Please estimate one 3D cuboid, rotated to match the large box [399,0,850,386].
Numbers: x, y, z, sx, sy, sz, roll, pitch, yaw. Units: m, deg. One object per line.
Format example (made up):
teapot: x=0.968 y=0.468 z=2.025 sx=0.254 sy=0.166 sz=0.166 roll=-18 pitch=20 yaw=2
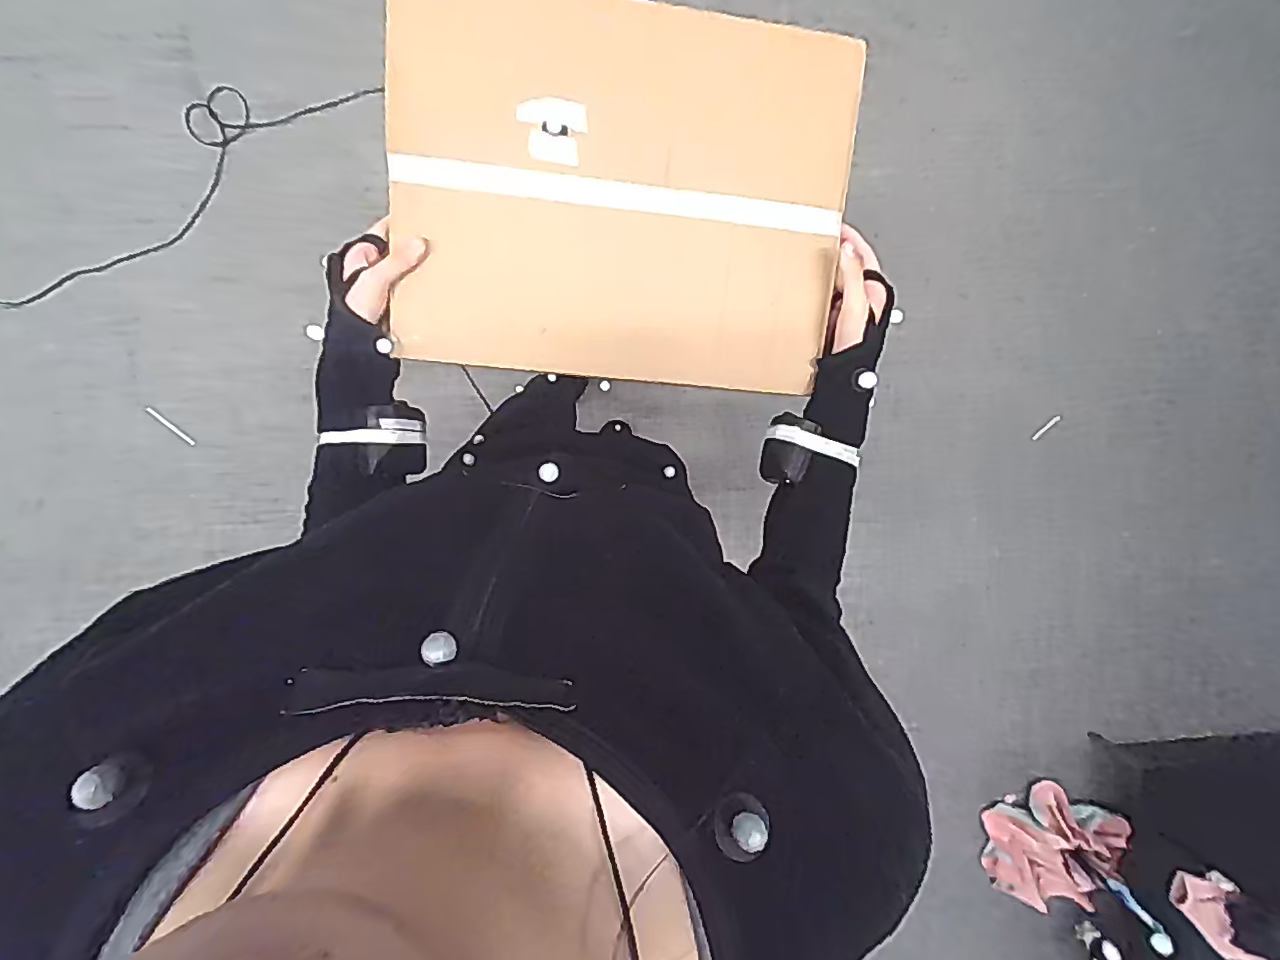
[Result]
large box: x=-0.027 y=-0.287 z=0.644 sx=0.408 sy=0.320 sz=0.320 roll=4 pitch=100 yaw=-6
